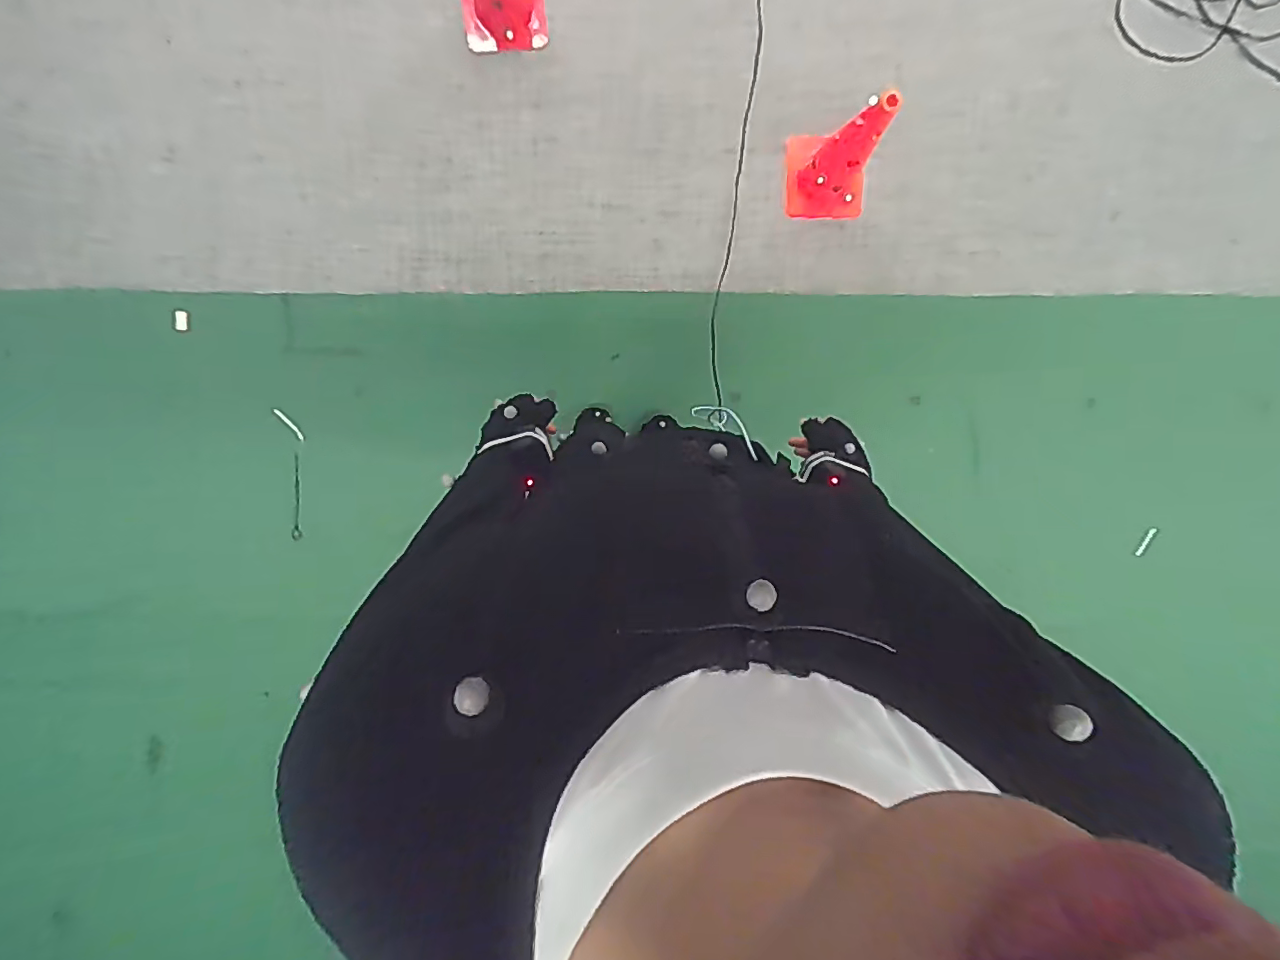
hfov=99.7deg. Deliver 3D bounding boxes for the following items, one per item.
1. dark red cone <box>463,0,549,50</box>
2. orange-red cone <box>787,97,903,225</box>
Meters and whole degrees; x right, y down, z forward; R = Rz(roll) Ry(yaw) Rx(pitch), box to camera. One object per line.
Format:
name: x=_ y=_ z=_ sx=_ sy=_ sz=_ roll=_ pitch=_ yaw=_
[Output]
dark red cone: x=-0.320 y=-1.123 z=1.136 sx=0.202 sy=0.394 sz=0.201 roll=-6 pitch=98 yaw=-1
orange-red cone: x=0.485 y=-0.747 z=1.222 sx=0.198 sy=0.360 sz=0.199 roll=0 pitch=96 yaw=-2
